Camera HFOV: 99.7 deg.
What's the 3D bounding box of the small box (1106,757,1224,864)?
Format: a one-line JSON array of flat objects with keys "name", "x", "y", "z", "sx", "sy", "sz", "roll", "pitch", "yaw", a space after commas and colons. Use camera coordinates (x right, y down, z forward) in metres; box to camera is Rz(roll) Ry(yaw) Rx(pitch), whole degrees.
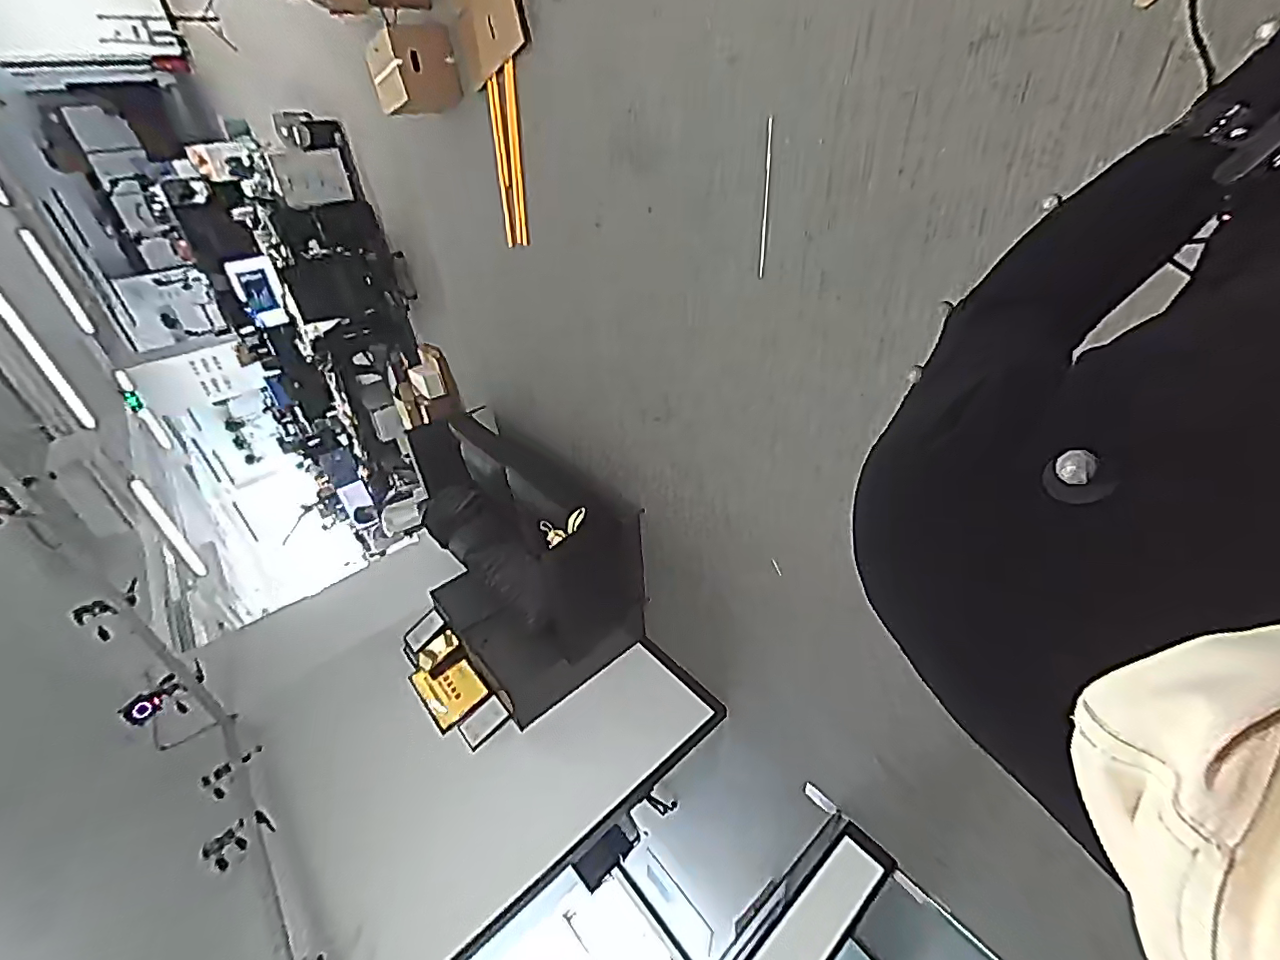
[{"name": "small box", "x": 1.494, "y": 0.928, "z": 1.541, "sx": 0.179, "sy": 0.176, "sz": 0.168, "roll": 32, "pitch": 140, "yaw": 39}]
